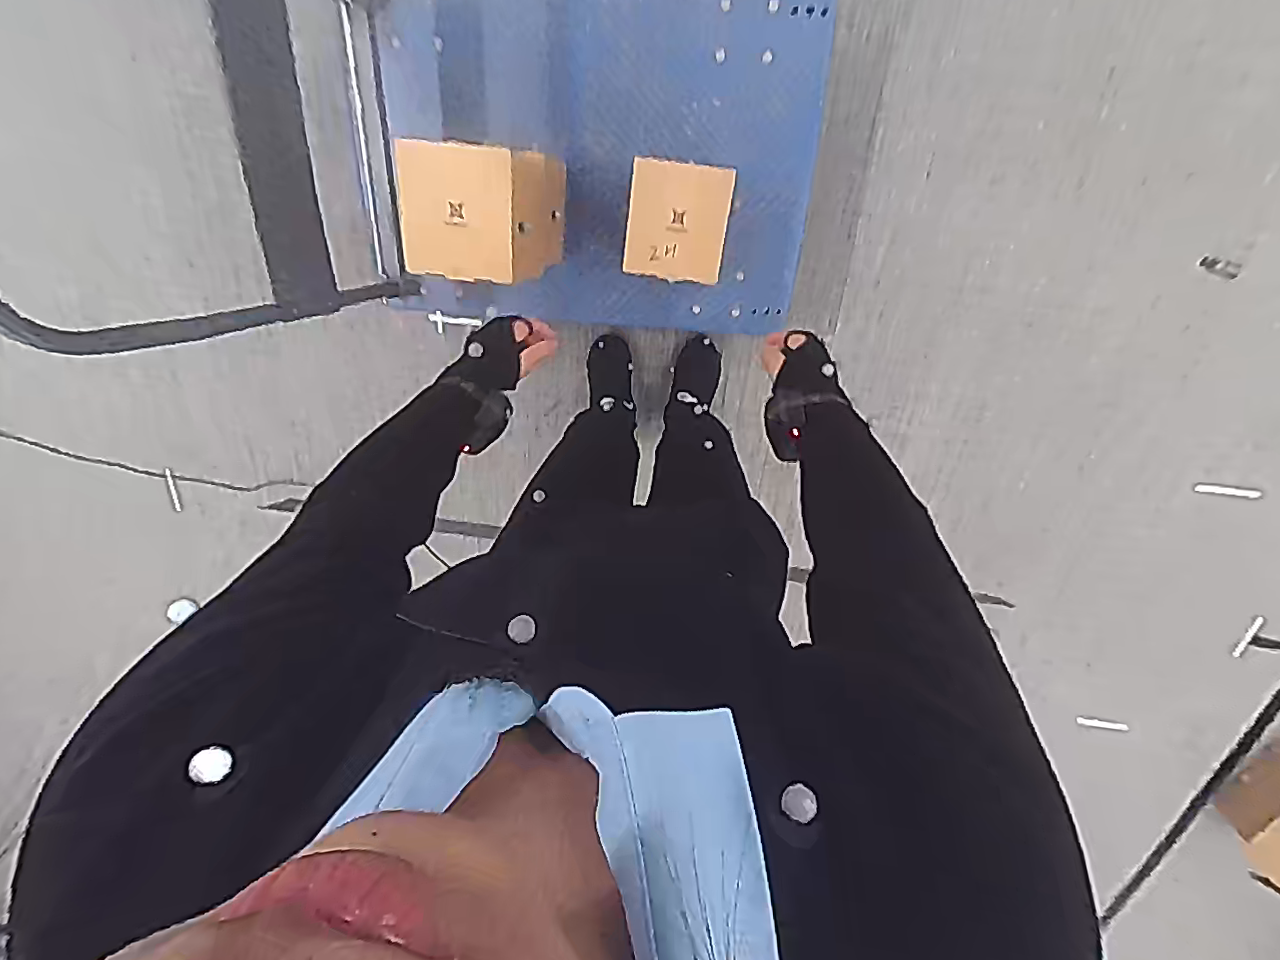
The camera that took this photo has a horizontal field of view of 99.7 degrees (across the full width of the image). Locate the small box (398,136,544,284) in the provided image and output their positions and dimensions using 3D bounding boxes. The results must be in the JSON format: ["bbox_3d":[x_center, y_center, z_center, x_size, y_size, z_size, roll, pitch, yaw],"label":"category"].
[{"bbox_3d":[-0.250,-0.411,0.837,0.168,0.176,0.179,7,116,2],"label":"small box"}]

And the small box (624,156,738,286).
[{"bbox_3d":[0.070,-0.455,0.963,0.168,0.176,0.179,10,115,2],"label":"small box"}]
